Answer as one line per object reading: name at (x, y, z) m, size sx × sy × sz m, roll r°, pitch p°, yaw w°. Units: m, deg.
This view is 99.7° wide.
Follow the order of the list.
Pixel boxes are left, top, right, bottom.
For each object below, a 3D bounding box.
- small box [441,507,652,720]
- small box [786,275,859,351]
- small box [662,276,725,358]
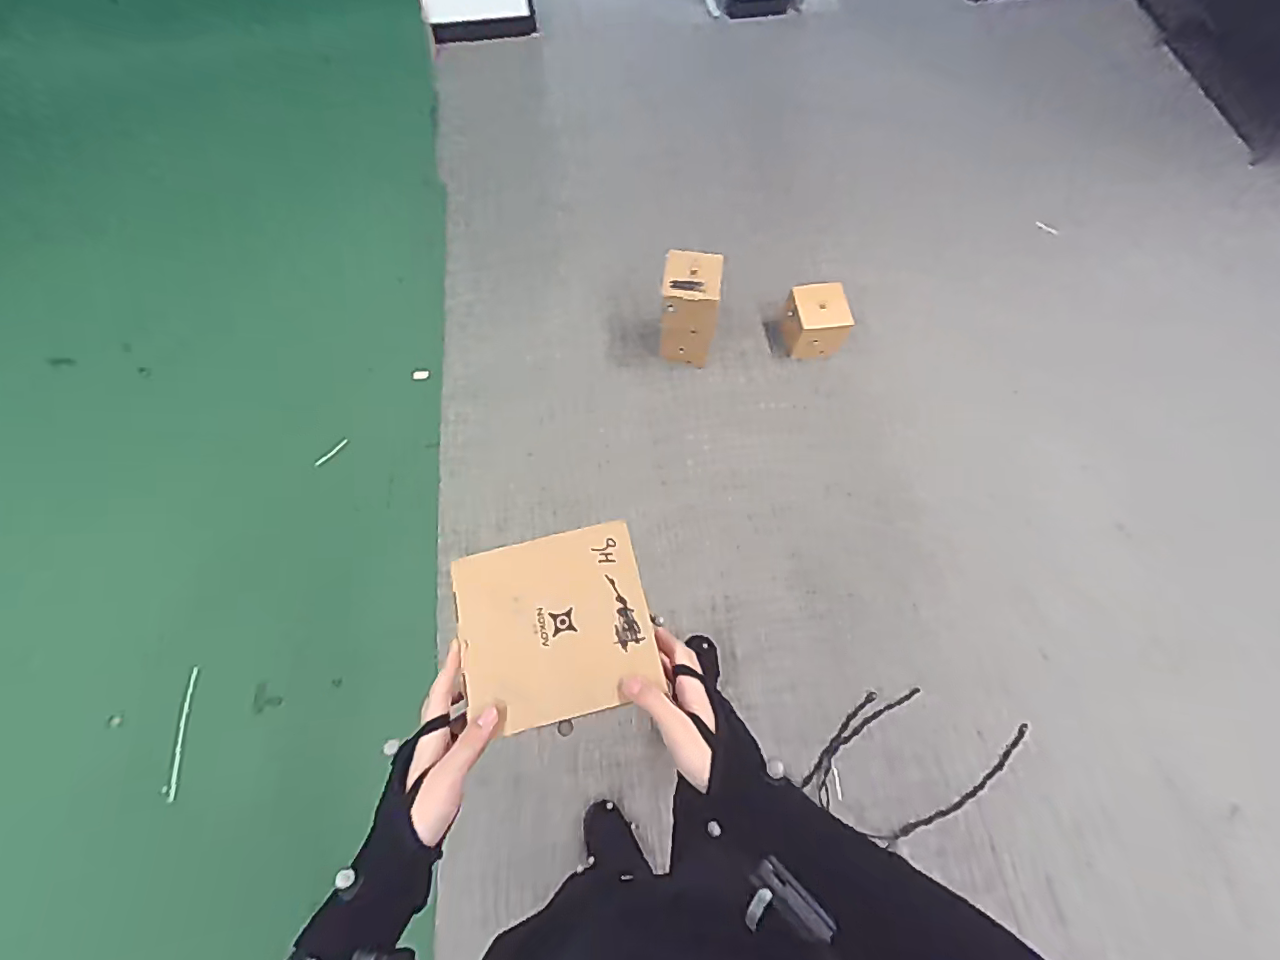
small box at (-0.086, 0.143, 0.553) m, size 0.179 × 0.176 × 0.168 m, roll -10°, pitch 68°, yaw -3°
small box at (0.593, -0.540, 1.772) m, size 0.168 × 0.176 × 0.179 m, roll -5°, pitch 68°, yaw -2°
small box at (0.170, -0.526, 1.761) m, size 0.168 × 0.176 × 0.179 m, roll 14°, pitch 68°, yaw 5°
